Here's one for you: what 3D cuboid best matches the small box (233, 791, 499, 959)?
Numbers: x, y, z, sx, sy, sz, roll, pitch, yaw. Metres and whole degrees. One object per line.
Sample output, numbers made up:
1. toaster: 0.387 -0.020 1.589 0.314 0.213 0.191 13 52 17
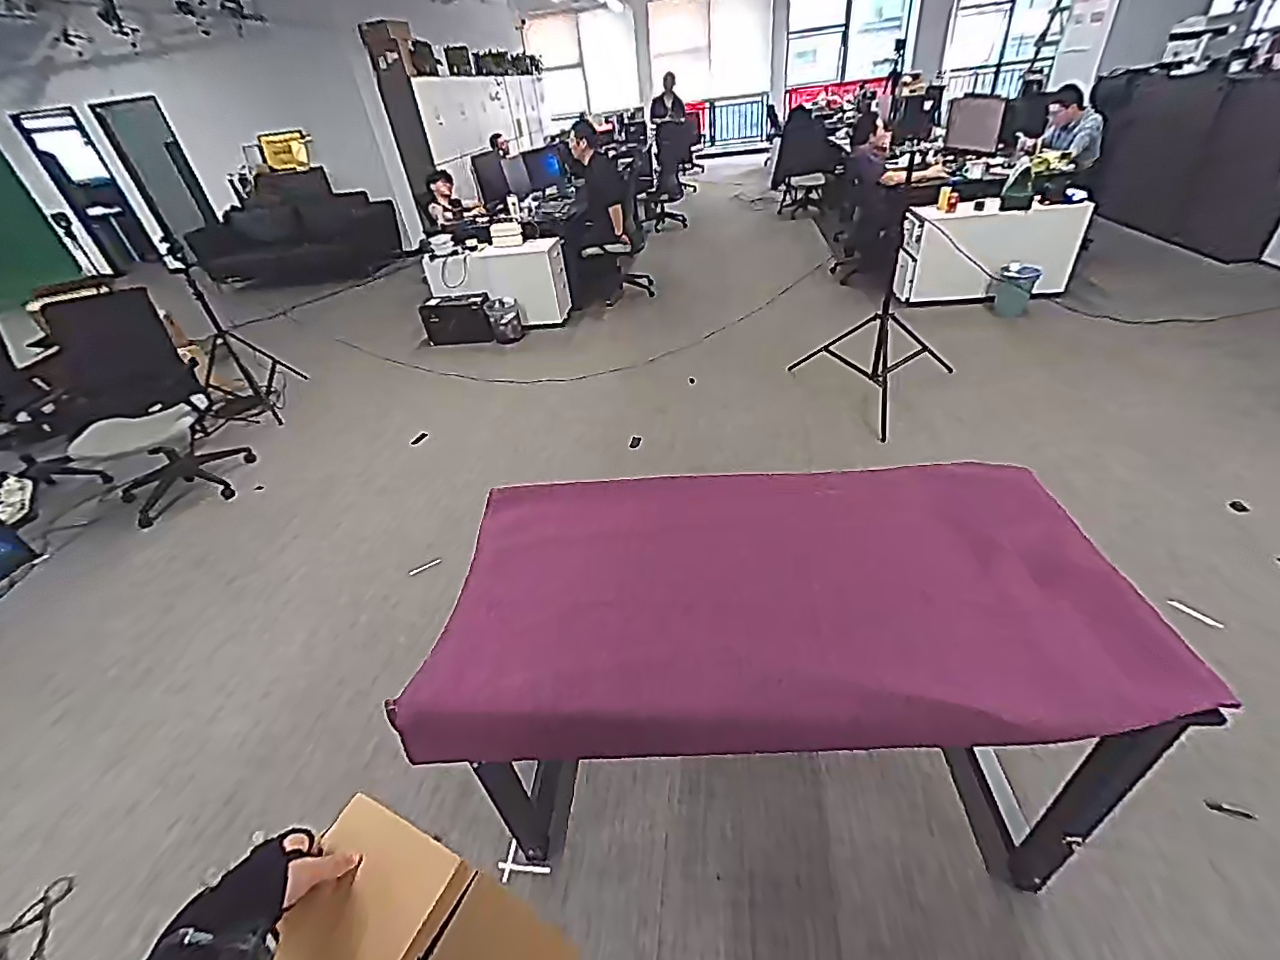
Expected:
1. small box: -0.280 0.491 0.598 0.179 0.176 0.168 19 46 19
